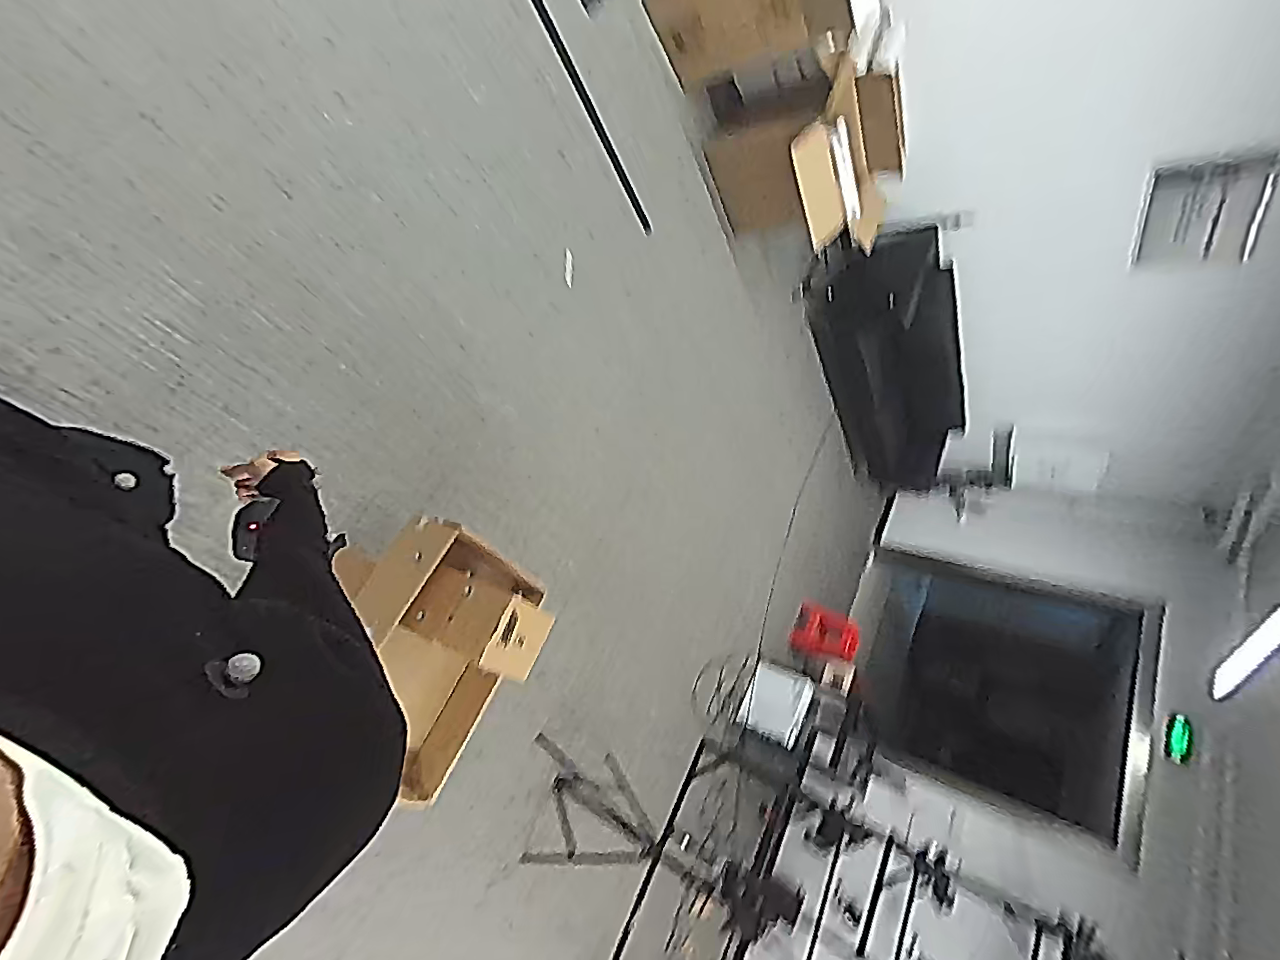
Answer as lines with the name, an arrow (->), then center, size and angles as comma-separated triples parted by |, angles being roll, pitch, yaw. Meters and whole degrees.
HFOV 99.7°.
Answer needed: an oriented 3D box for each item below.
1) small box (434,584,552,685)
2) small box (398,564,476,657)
small box -> -0.352, 0.363, 1.293 | 0.179, 0.176, 0.168 | 49, 60, -48
small box -> -0.485, 0.339, 1.385 | 0.168, 0.176, 0.179 | 47, 61, -48
